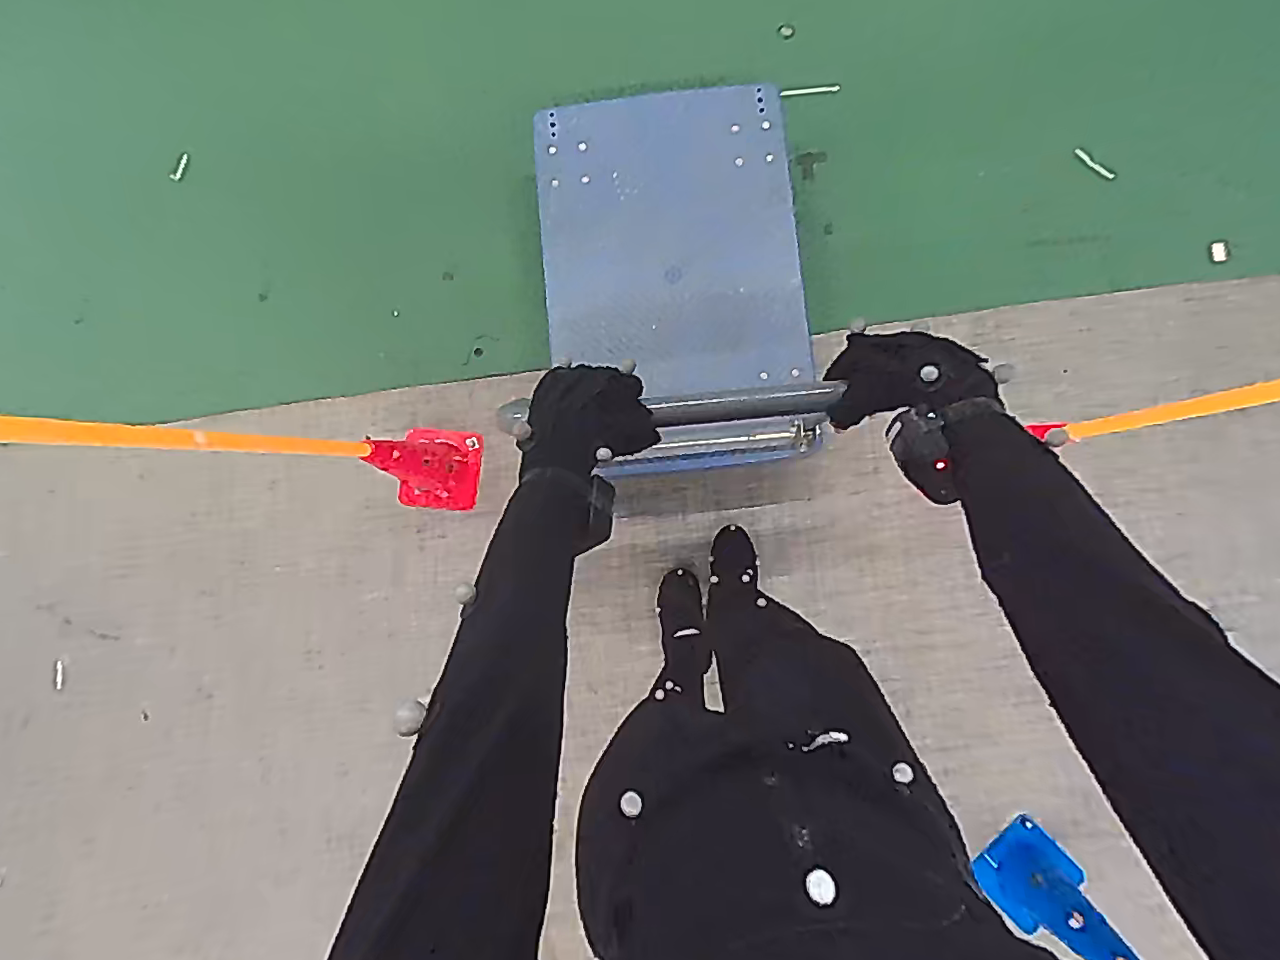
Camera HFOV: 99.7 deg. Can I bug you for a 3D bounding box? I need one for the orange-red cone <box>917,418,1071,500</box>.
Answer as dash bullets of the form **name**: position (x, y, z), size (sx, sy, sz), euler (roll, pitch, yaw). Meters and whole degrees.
- **orange-red cone**: position (0.779, -0.065, 1.162), size (0.198, 0.360, 0.199), euler (4, 86, 3)
